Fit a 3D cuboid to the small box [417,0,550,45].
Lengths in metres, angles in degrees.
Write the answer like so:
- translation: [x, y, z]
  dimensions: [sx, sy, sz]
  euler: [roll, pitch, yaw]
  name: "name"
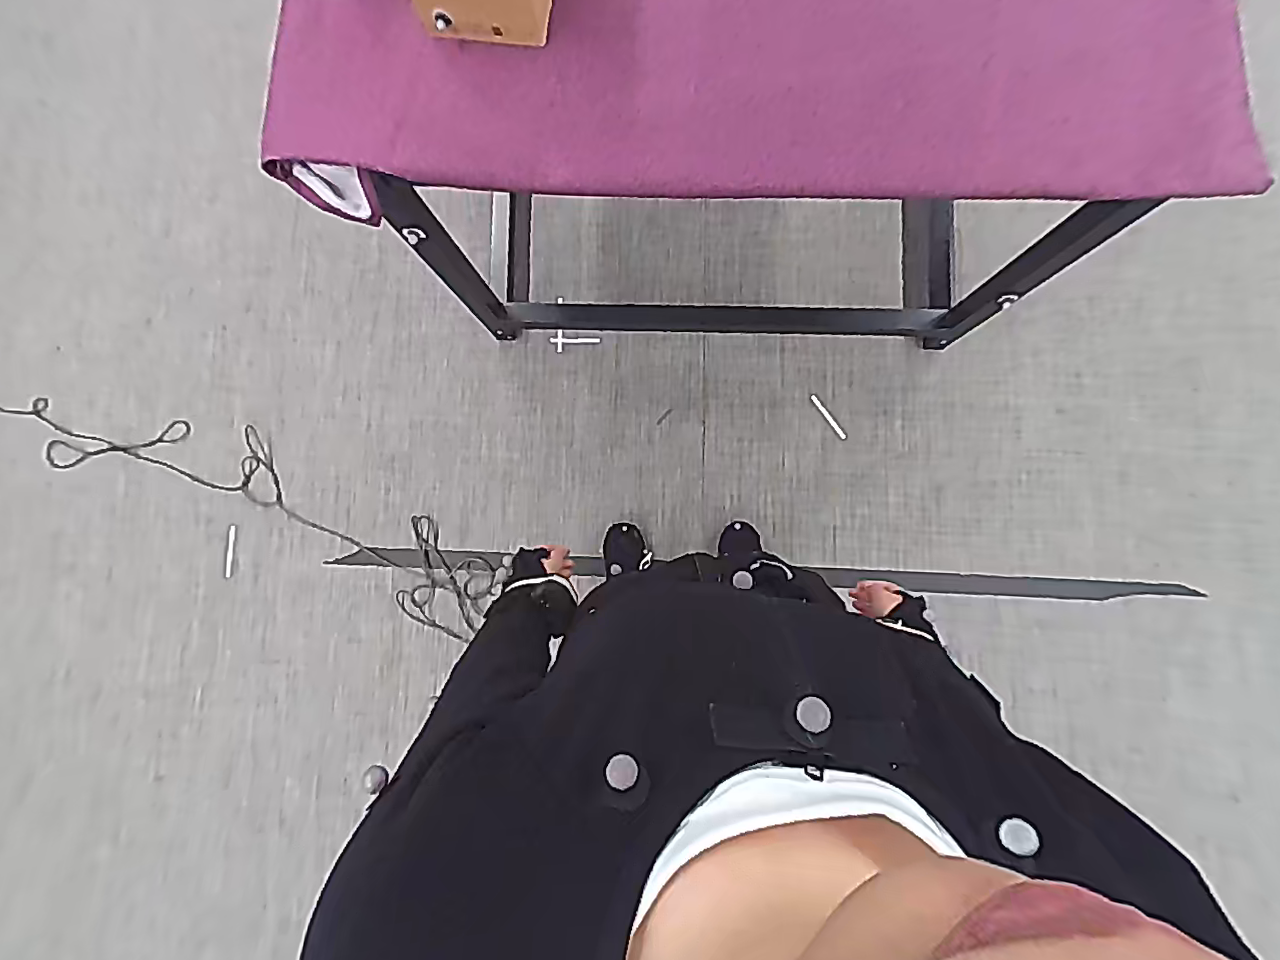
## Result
- translation: [-0.204, -0.693, 0.672]
  dimensions: [0.168, 0.176, 0.179]
  euler: [8, 86, 3]
  name: "small box"
